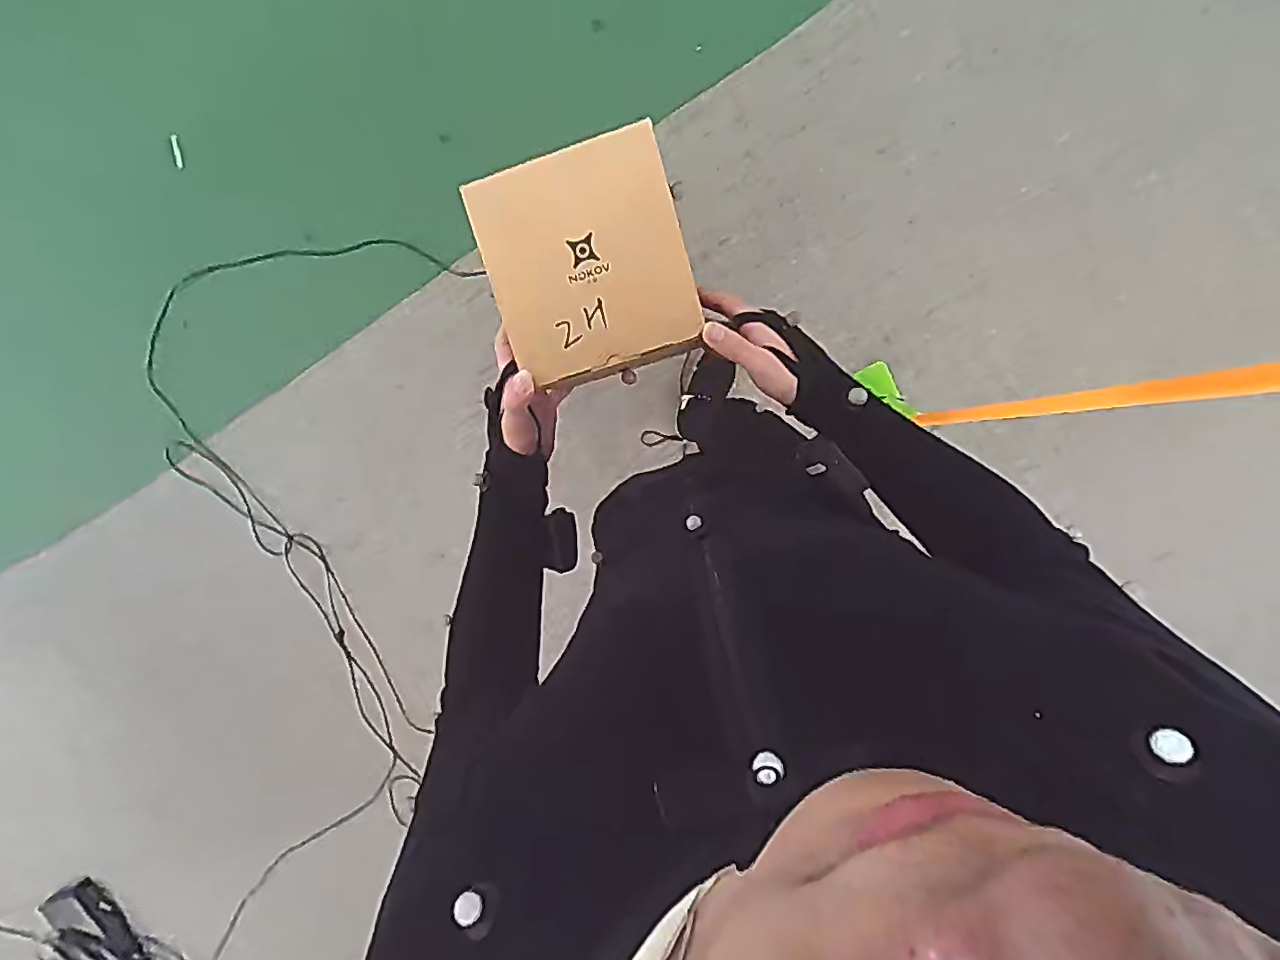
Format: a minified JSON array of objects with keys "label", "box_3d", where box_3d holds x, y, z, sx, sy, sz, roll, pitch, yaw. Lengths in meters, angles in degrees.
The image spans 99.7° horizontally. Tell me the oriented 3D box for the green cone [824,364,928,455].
[{"label":"green cone","box_3d":[0.621,-0.159,1.332,0.202,0.368,0.200,-28,97,11]}]
